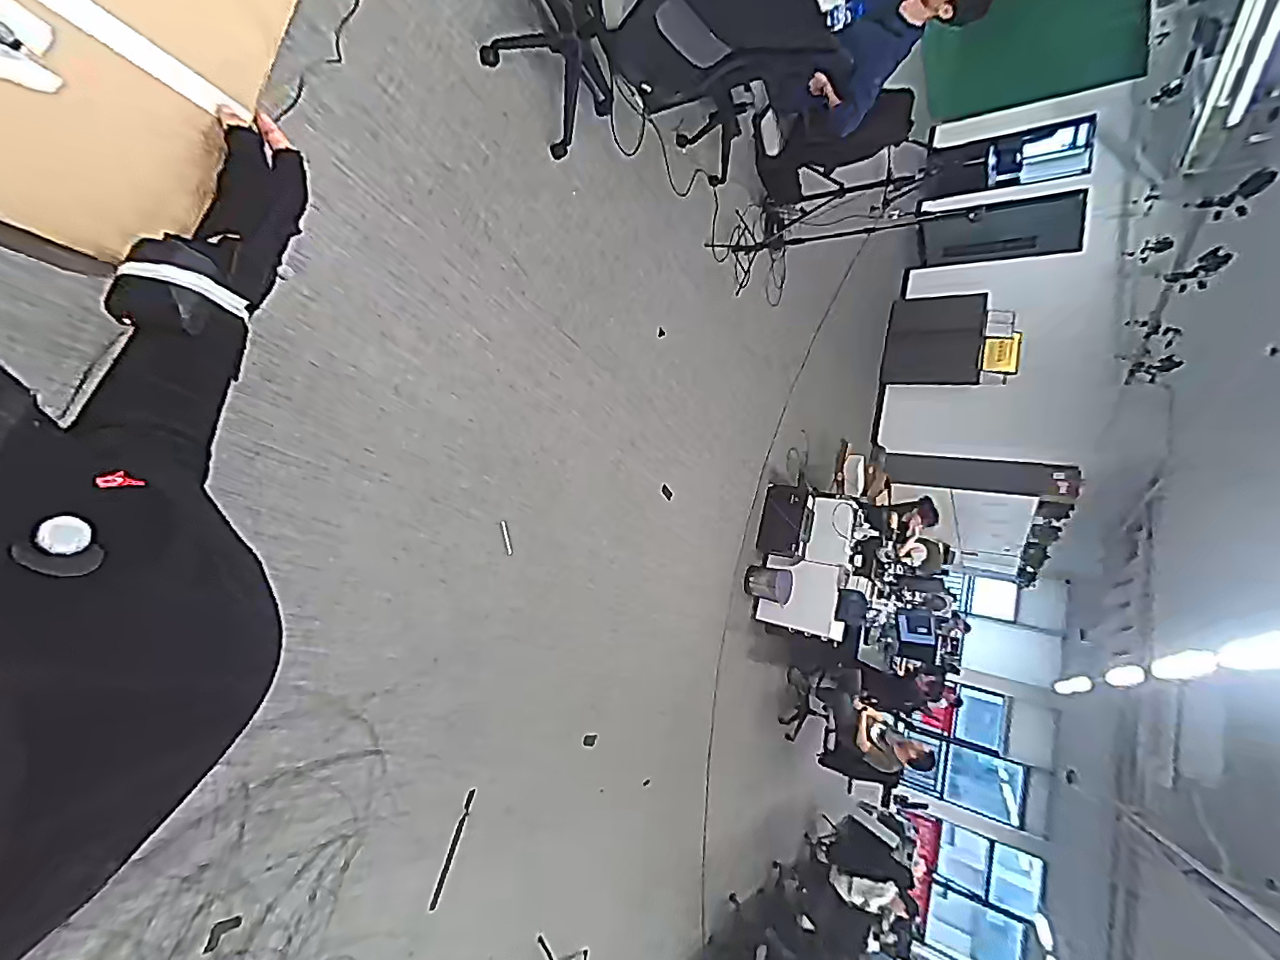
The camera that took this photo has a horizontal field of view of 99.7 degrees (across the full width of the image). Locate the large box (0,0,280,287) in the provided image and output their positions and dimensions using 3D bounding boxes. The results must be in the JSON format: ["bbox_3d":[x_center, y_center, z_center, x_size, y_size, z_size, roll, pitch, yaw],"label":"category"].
[{"bbox_3d":[-0.576,-0.383,0.381,0.408,0.320,0.320,22,87,-60],"label":"large box"}]
